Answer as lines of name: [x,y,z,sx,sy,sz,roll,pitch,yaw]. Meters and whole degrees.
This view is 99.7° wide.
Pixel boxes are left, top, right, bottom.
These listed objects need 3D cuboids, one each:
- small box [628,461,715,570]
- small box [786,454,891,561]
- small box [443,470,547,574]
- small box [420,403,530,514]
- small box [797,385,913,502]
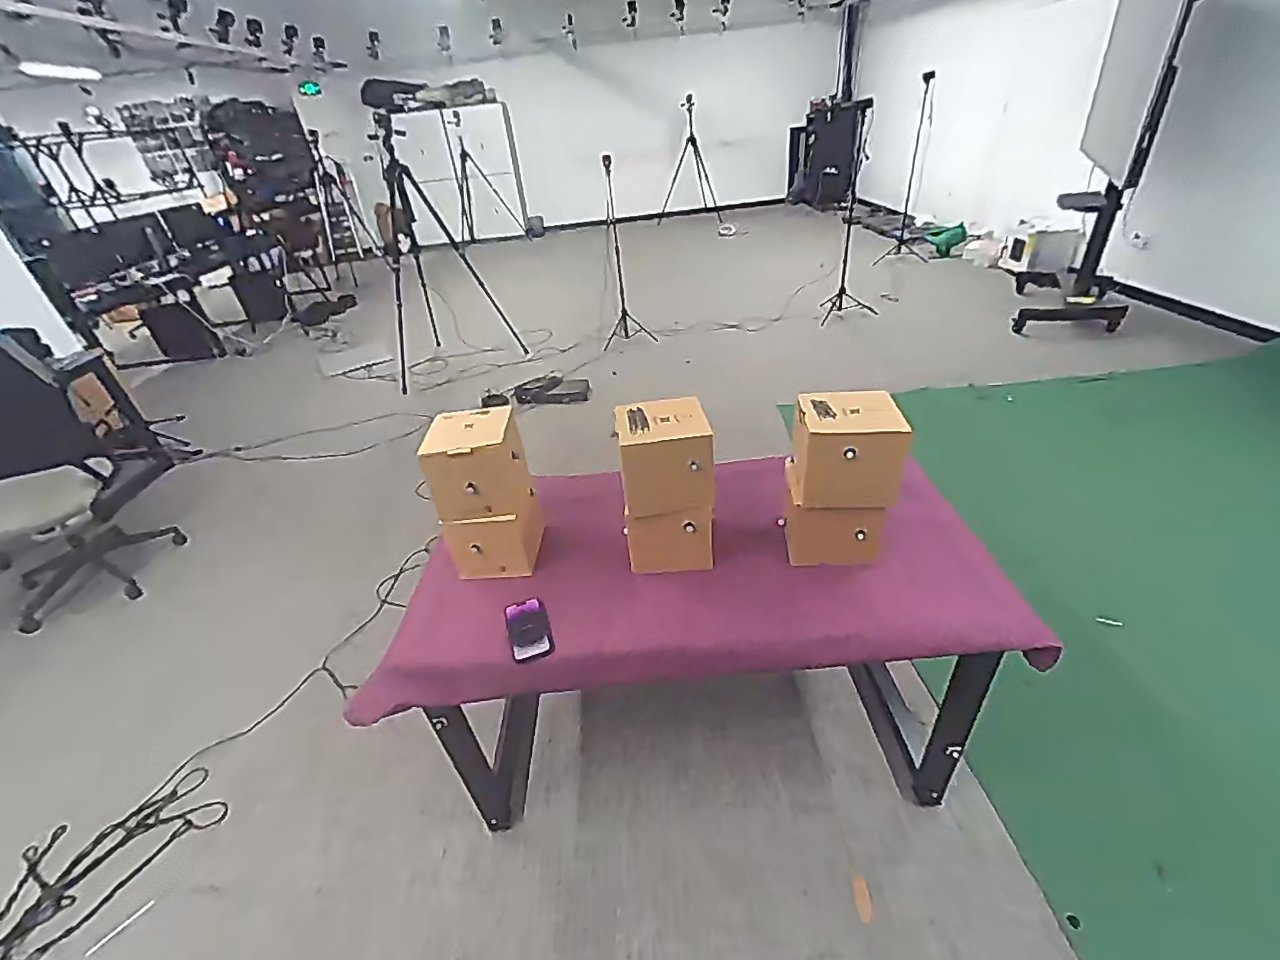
small box: [0.071,0.078,1.179,0.179,0.176,0.168,-5,34,4]
small box: [0.409,0.058,1.144,0.179,0.176,0.168,-2,34,9]
small box: [-0.317,0.100,1.224,0.168,0.176,0.179,-5,34,4]
small box: [-0.335,-0.040,1.139,0.168,0.176,0.179,-7,34,0]
small box: [0.400,-0.069,1.040,0.179,0.176,0.168,-1,34,8]
